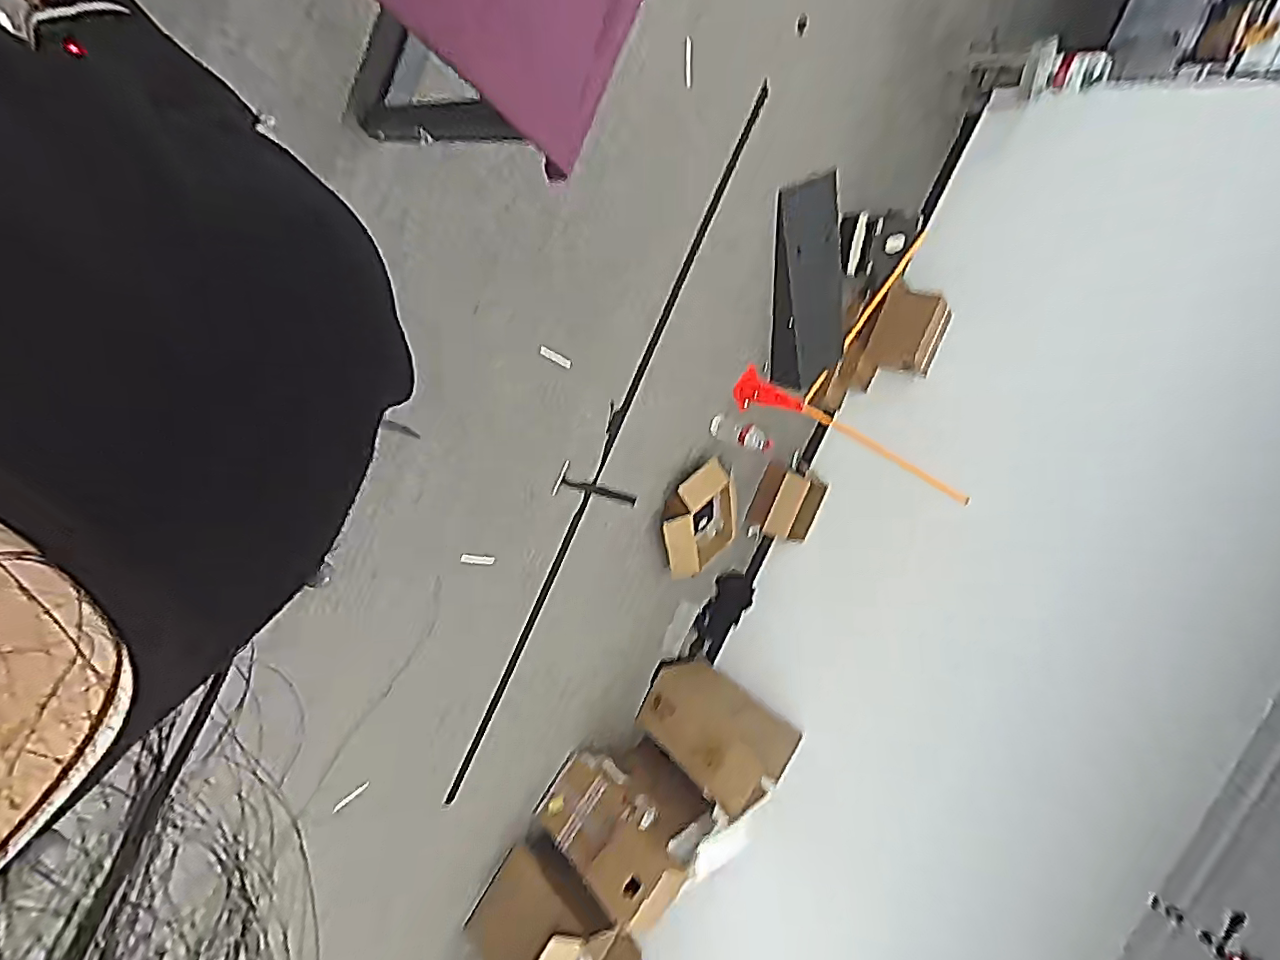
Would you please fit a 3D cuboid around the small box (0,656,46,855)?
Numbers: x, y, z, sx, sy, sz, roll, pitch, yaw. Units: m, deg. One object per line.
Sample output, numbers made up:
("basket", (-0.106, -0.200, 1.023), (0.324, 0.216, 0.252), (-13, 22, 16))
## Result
("small box", (-0.833, 0.329, 0.626), (0.168, 0.176, 0.179), (18, 99, -53))
